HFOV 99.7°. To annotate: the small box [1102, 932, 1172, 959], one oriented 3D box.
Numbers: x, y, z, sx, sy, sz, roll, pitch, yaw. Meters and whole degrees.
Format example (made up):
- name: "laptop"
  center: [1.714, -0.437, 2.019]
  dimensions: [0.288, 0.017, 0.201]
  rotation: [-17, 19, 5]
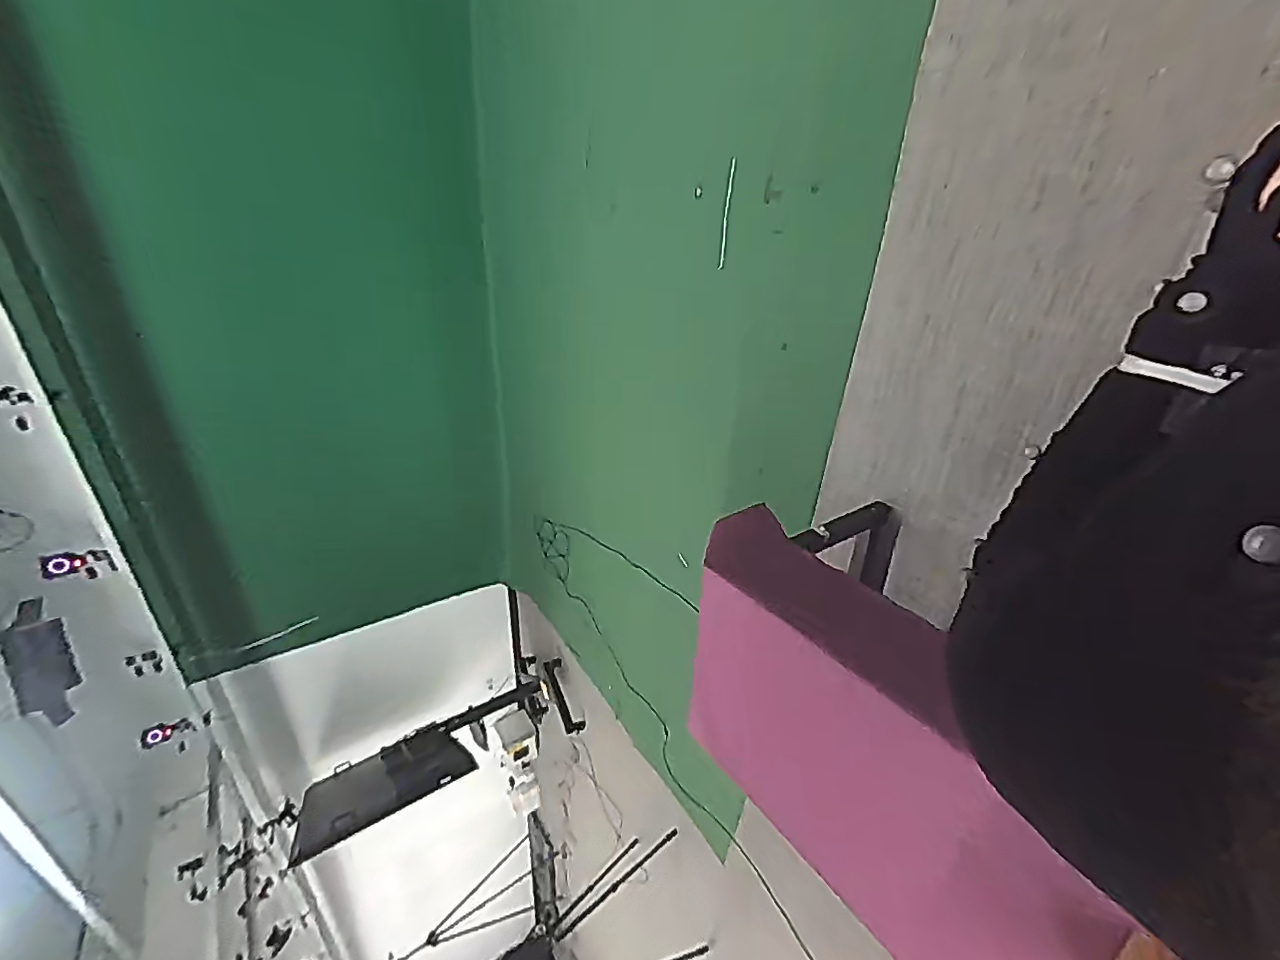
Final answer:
- name: "small box"
  center: [0.646, 0.727, 0.670]
  dimensions: [0.168, 0.176, 0.179]
  rotation: [31, 129, 49]
